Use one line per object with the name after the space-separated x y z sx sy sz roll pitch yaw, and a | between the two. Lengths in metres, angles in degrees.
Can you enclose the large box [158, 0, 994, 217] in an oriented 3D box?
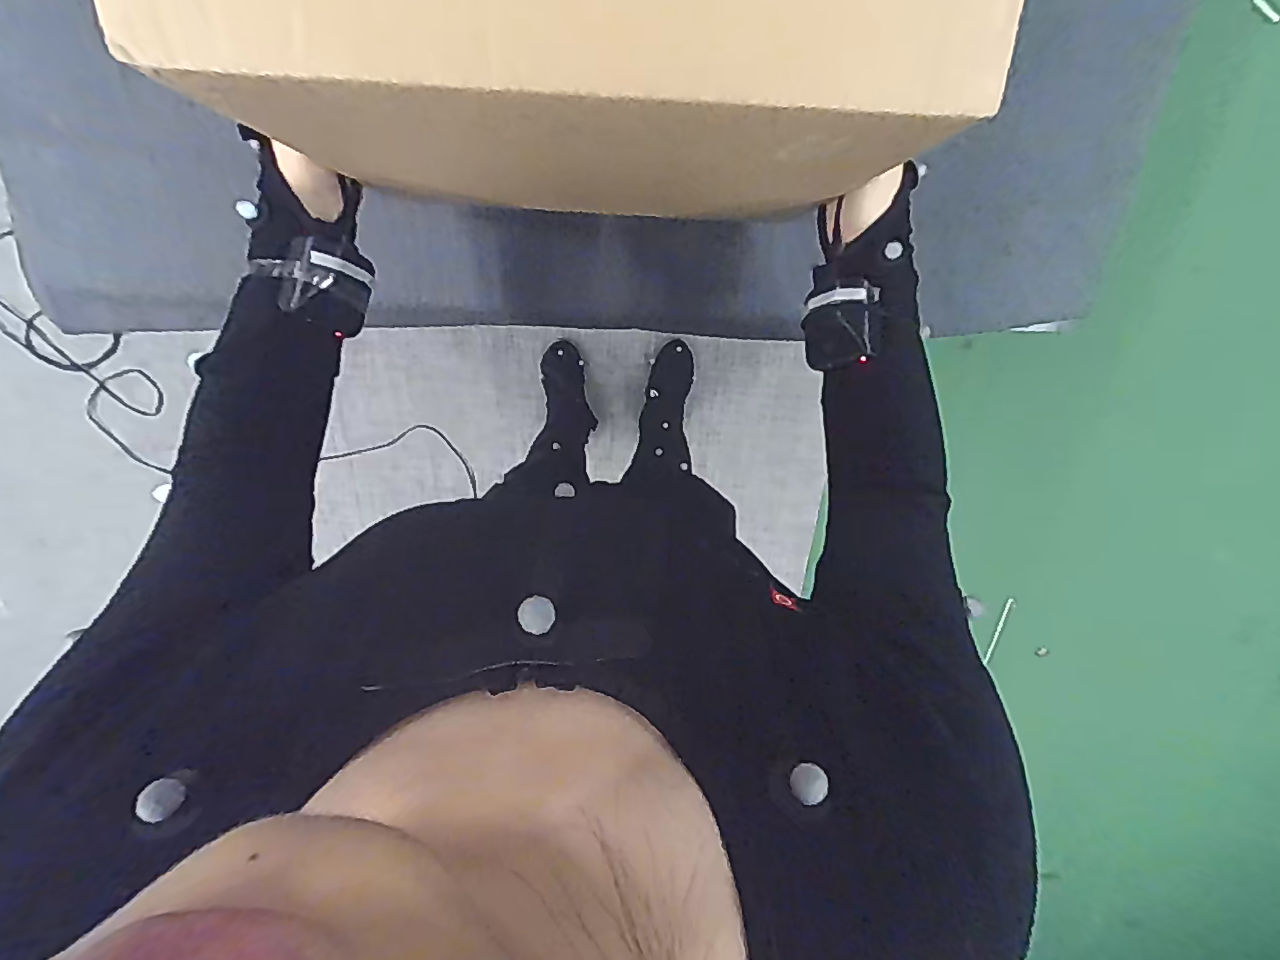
-0.030 -0.376 0.367 0.408 0.320 0.320 1 108 -4 | large box
